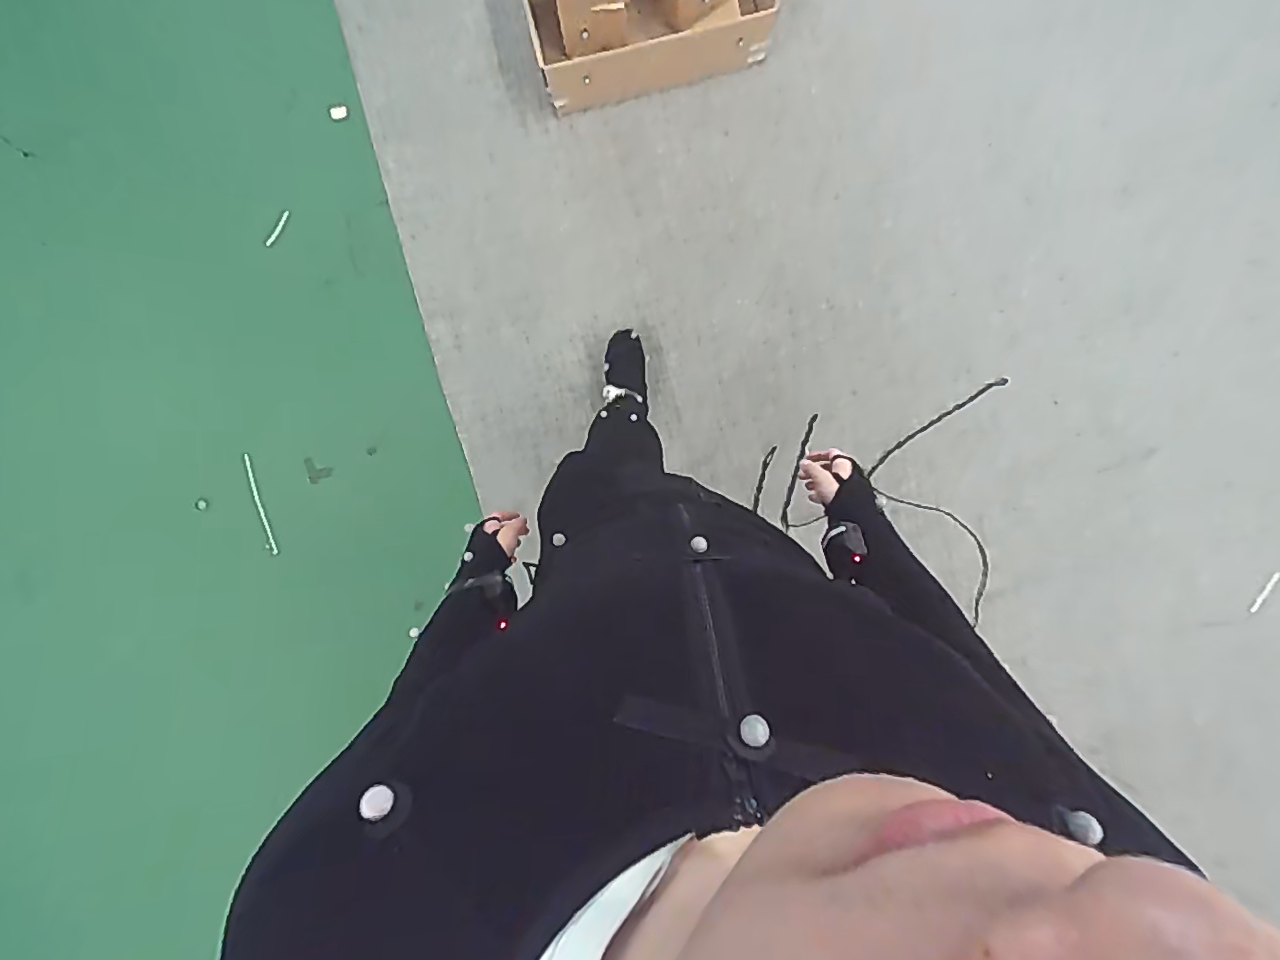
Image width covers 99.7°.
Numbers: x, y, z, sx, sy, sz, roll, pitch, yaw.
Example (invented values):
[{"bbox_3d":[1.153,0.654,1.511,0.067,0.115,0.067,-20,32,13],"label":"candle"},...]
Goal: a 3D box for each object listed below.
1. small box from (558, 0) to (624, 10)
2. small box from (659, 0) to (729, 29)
[{"bbox_3d":[-0.121,-1.210,1.215,0.179,0.176,0.168,-9,94,1],"label":"small box"},{"bbox_3d":[0.130,-1.301,1.366,0.168,0.176,0.179,-29,93,4],"label":"small box"}]
